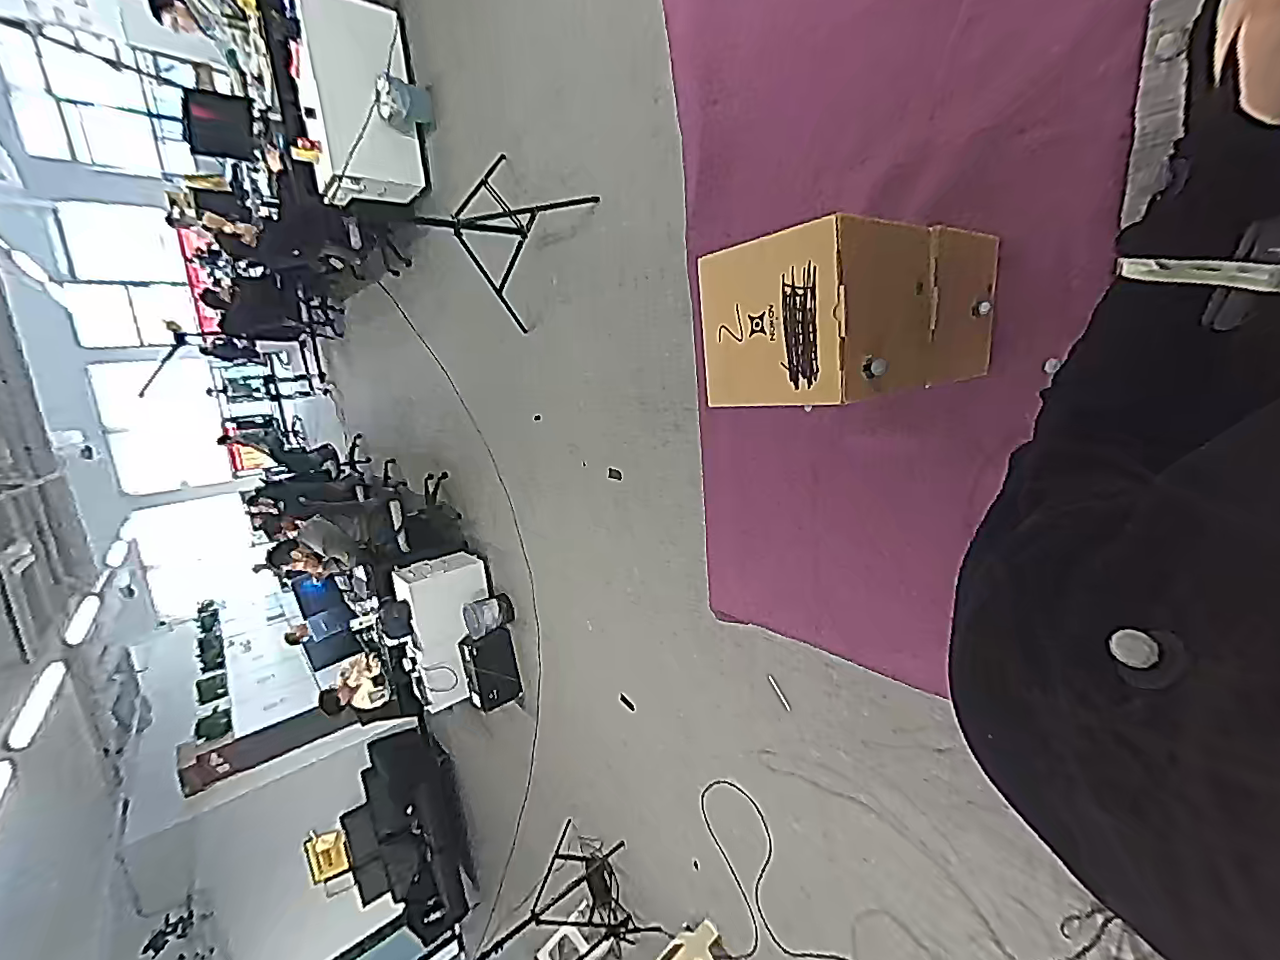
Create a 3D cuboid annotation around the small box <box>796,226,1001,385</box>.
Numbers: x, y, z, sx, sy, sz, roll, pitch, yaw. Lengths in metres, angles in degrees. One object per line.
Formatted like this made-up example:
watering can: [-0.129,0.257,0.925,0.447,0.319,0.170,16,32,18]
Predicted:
small box: [0.321,-0.211,0.684,0.179,0.176,0.168,13,112,50]
